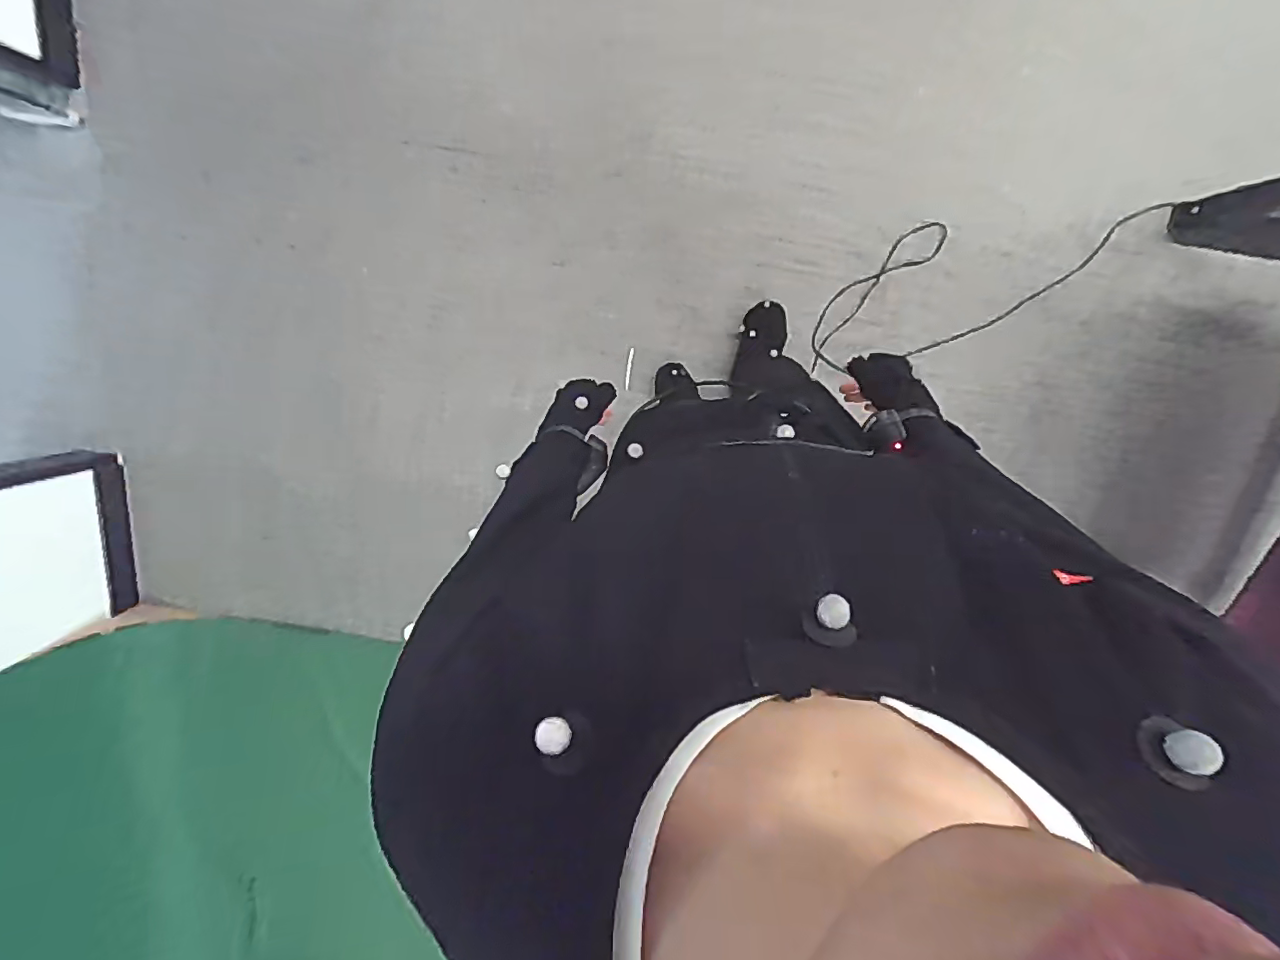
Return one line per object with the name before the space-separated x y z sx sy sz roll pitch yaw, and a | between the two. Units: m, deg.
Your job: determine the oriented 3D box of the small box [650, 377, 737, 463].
small box | 0.135 -0.156 1.398 0.179 0.176 0.168 26 98 2
